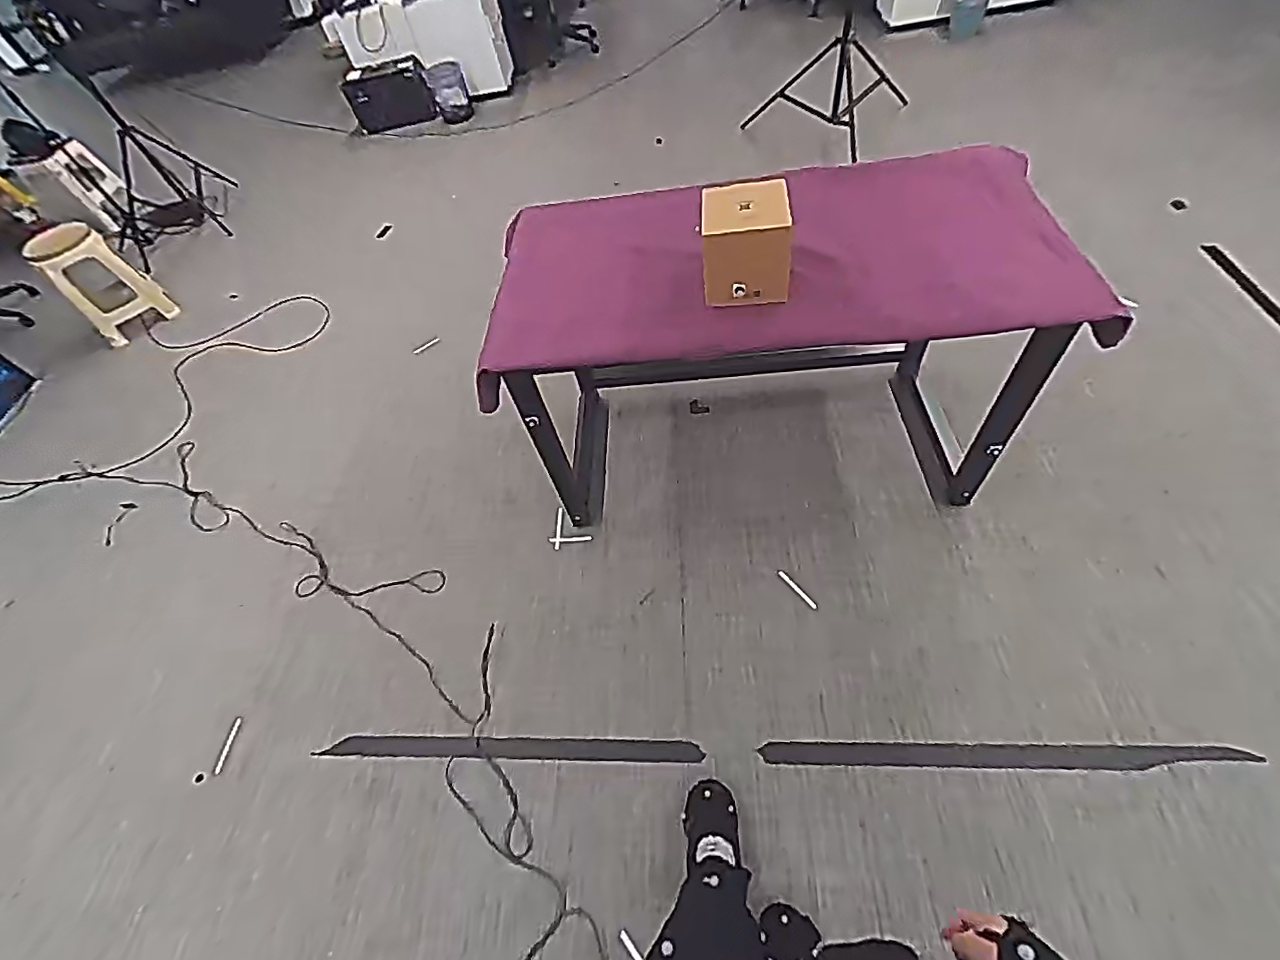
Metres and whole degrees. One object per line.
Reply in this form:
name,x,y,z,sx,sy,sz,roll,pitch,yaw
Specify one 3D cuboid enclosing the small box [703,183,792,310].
small box,0.214,-0.473,1.104,0.168,0.176,0.179,-2,55,10
